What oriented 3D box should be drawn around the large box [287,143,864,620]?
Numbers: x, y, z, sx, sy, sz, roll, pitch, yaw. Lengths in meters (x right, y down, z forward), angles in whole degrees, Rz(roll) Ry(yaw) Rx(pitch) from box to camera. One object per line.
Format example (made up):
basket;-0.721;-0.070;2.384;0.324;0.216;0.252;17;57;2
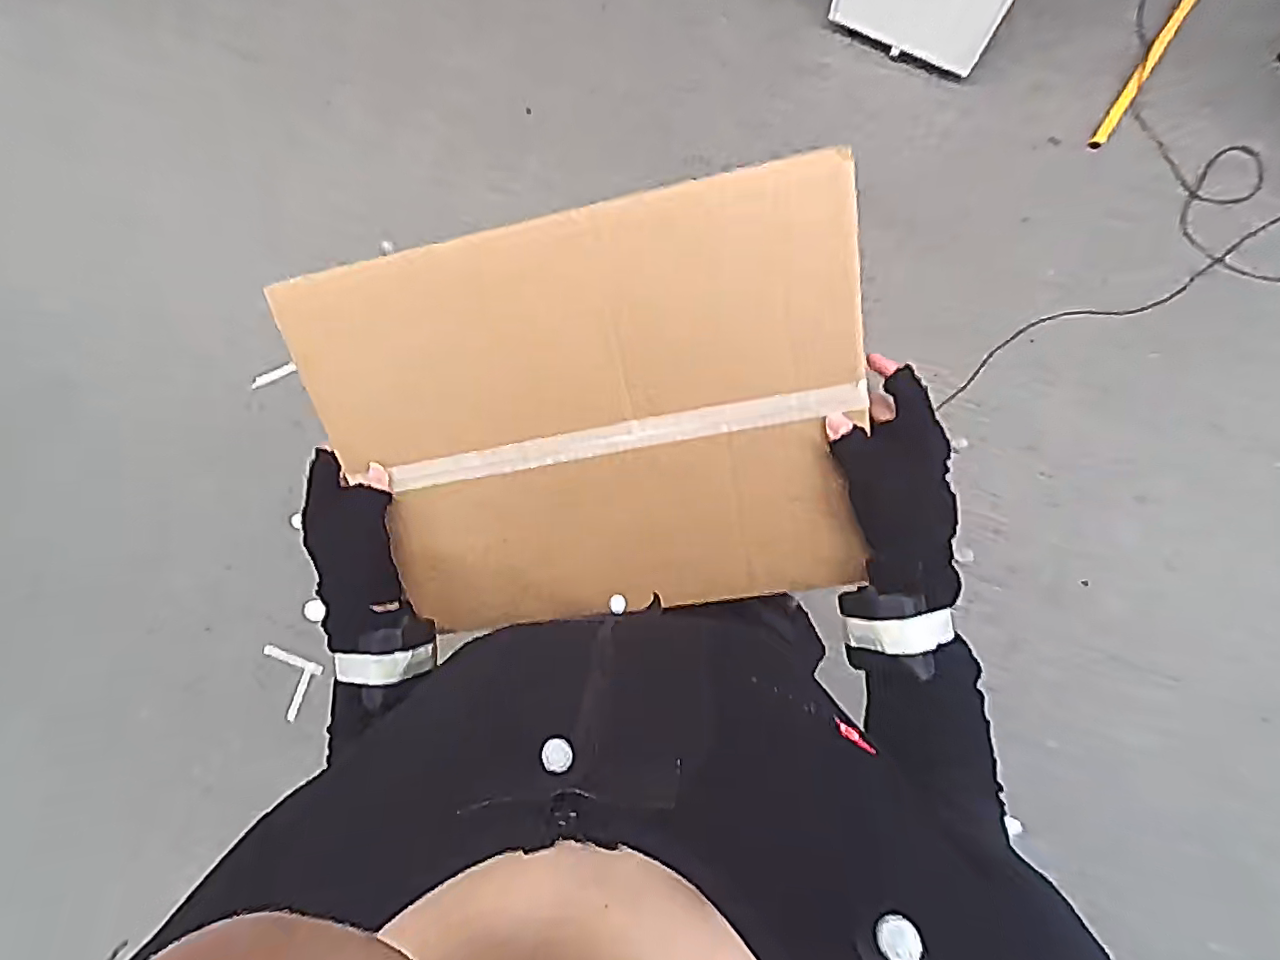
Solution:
large box;-0.029;-0.097;0.558;0.408;0.320;0.320;-9;114;9
